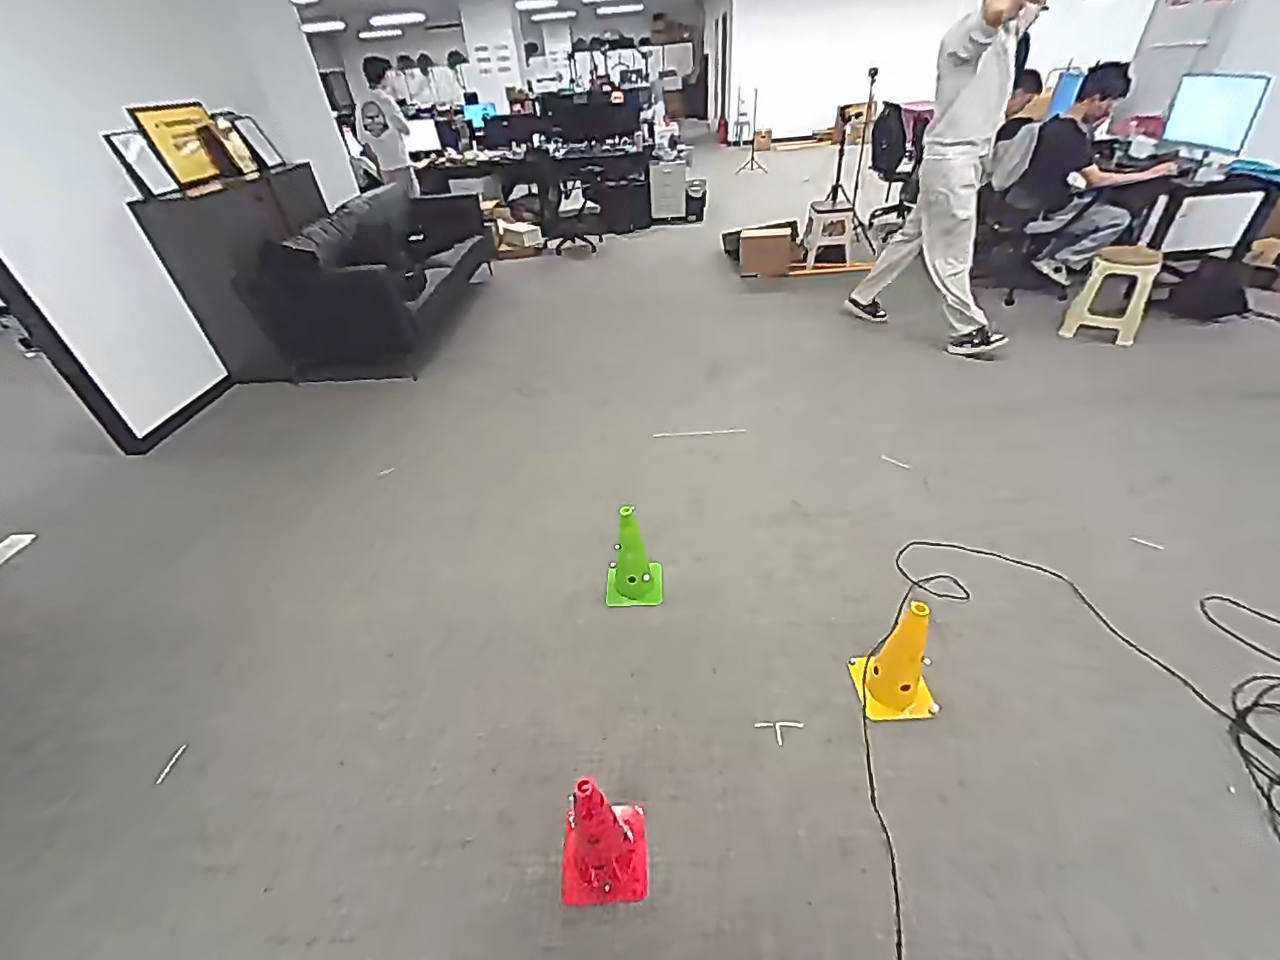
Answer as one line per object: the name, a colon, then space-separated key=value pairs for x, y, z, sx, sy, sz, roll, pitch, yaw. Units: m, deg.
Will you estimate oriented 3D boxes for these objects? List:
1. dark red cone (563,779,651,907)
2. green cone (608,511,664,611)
dark red cone: x=-0.091 y=0.753 z=1.174 sx=0.202 sy=0.394 sz=0.201 roll=-6 pitch=38 yaw=0
green cone: x=-0.025 y=0.259 z=1.859 sx=0.202 sy=0.368 sz=0.200 roll=-2 pitch=38 yaw=3
